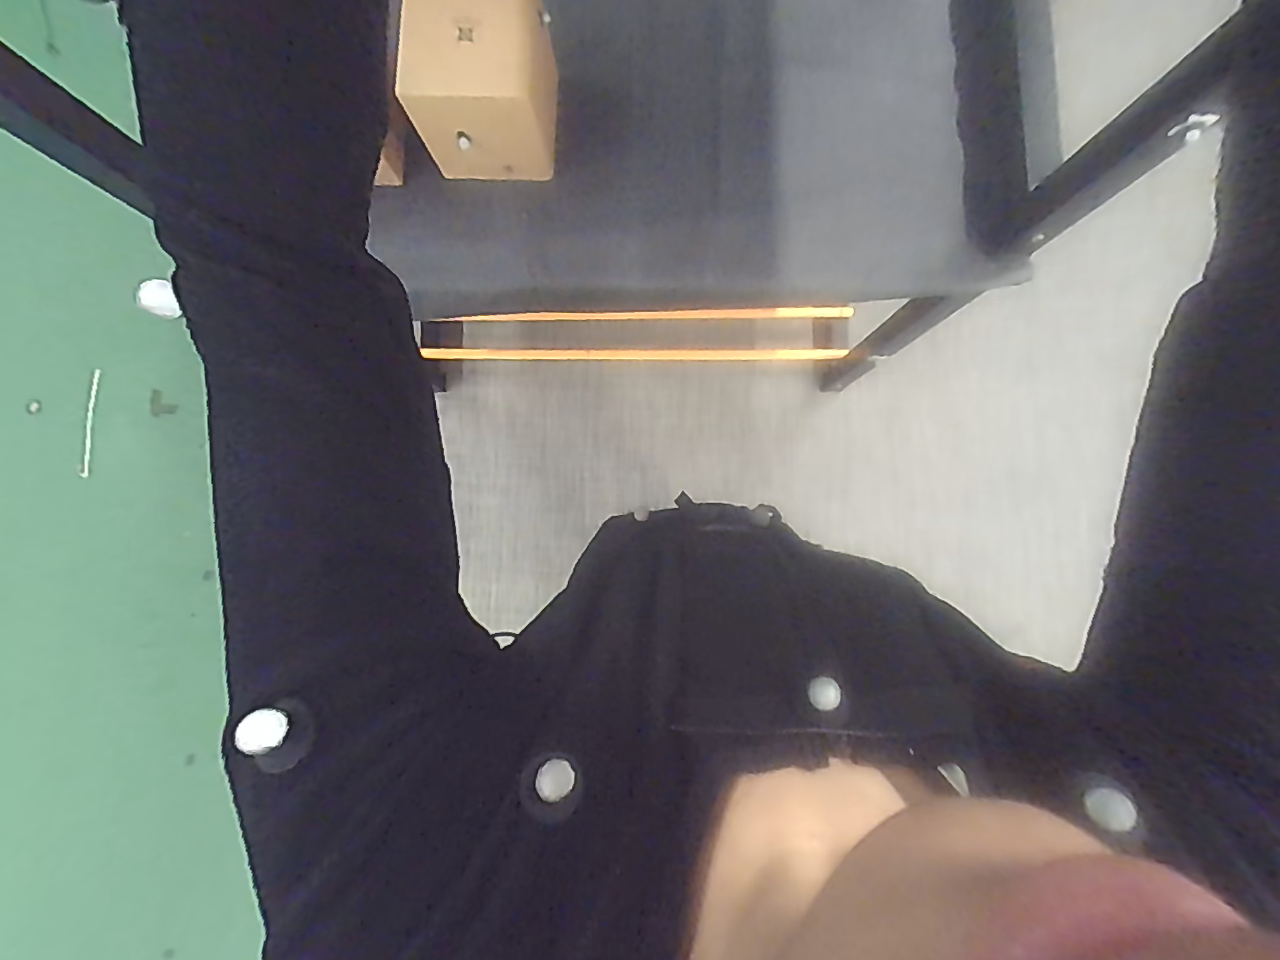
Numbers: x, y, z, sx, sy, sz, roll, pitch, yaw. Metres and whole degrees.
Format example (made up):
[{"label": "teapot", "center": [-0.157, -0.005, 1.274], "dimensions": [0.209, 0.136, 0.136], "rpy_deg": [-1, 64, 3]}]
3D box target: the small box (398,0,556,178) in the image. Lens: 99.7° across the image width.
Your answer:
[{"label": "small box", "center": [-0.213, -0.550, 0.751], "dimensions": [0.168, 0.176, 0.179], "rpy_deg": [2, 85, 1]}]
